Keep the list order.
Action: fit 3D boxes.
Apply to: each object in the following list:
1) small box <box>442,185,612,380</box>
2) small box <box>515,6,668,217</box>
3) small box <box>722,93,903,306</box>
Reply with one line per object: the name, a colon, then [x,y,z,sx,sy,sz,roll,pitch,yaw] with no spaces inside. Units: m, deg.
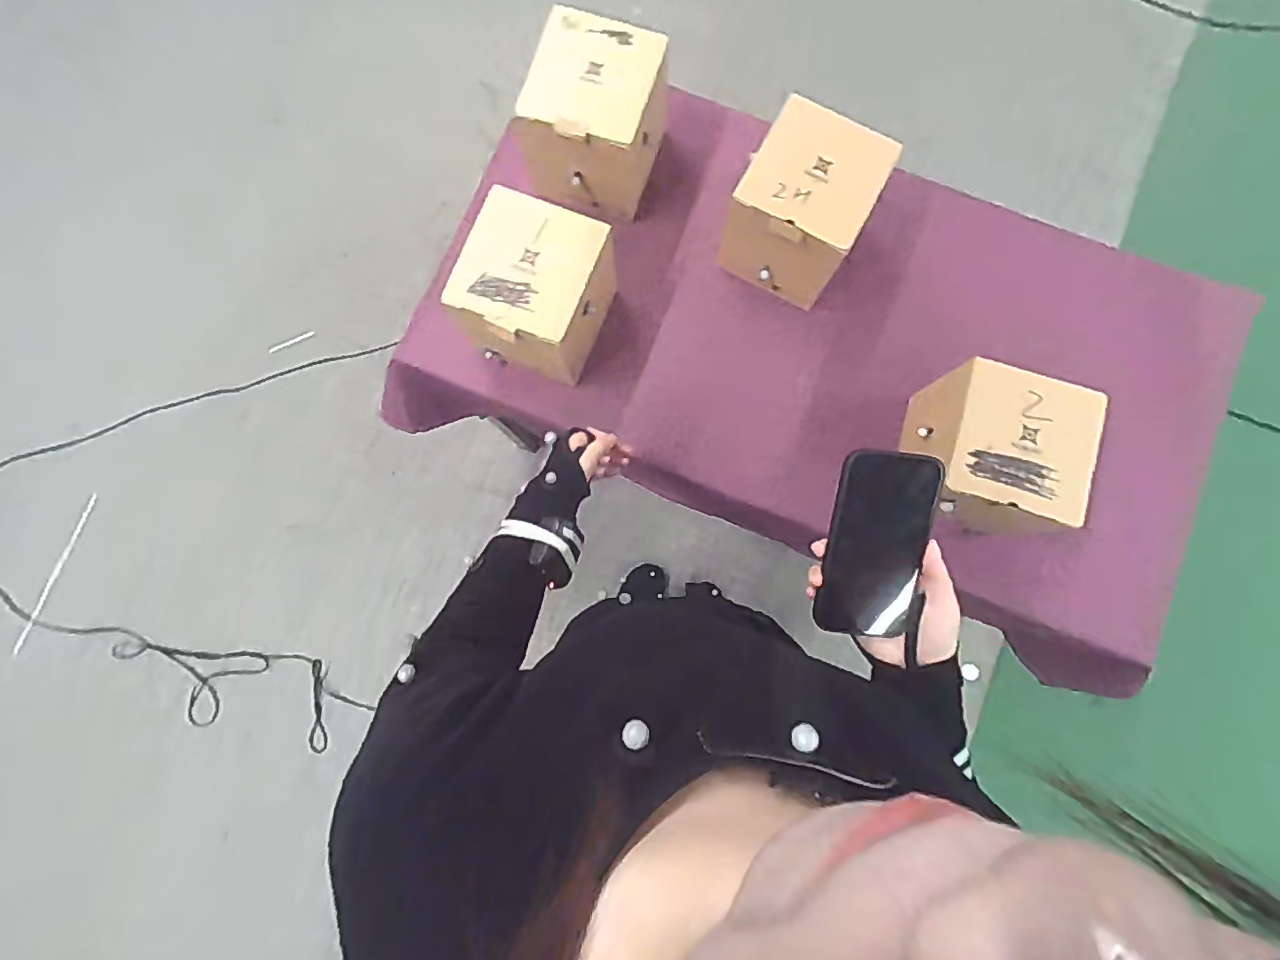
small box: [-0.144,-0.264,0.765,0.168,0.176,0.179,21,81,3]
small box: [-0.062,-0.529,0.801,0.168,0.176,0.179,18,84,2]
small box: [0.233,-0.389,0.778,0.168,0.176,0.179,29,84,5]
